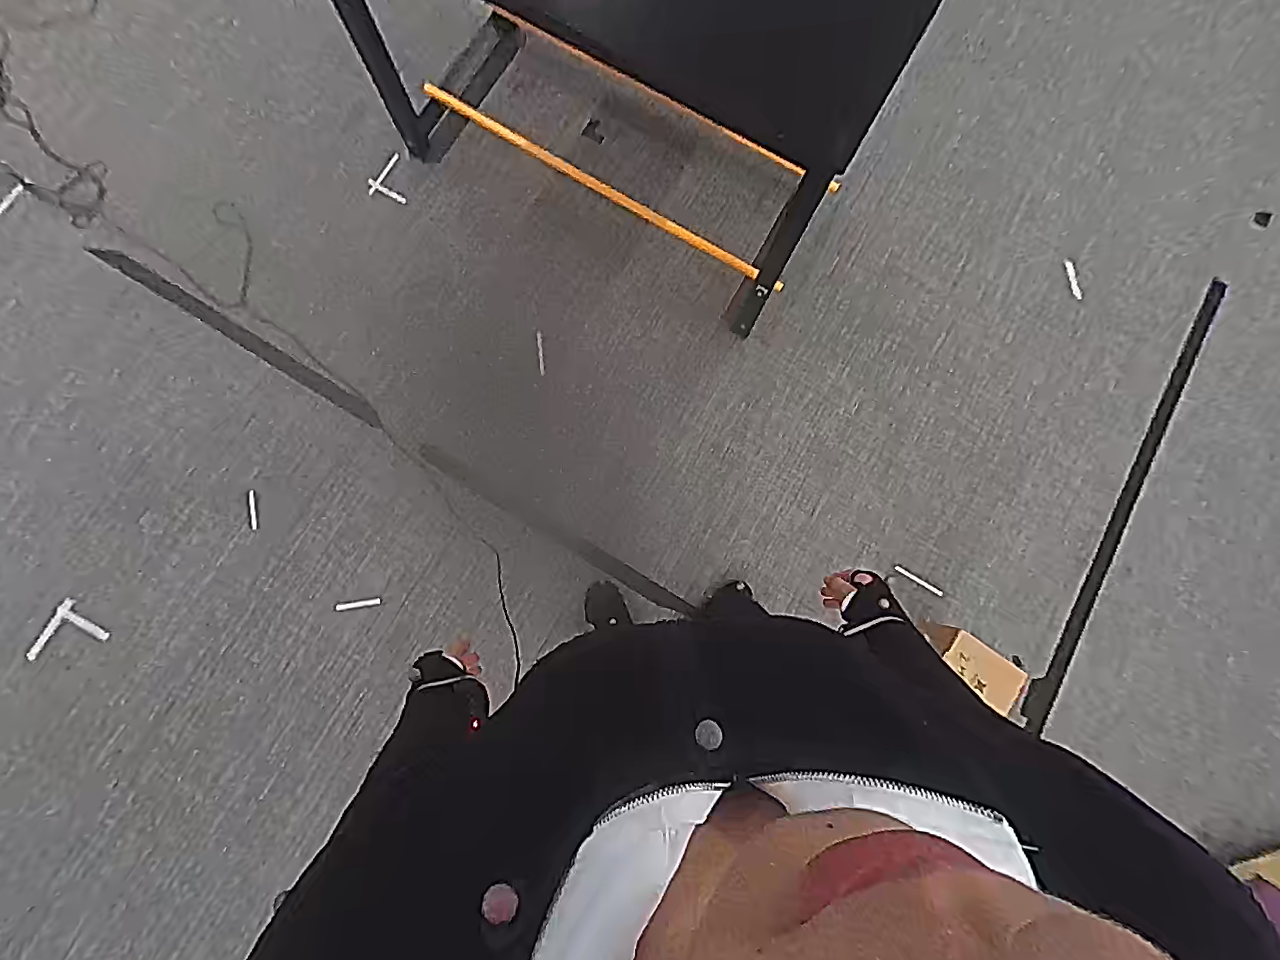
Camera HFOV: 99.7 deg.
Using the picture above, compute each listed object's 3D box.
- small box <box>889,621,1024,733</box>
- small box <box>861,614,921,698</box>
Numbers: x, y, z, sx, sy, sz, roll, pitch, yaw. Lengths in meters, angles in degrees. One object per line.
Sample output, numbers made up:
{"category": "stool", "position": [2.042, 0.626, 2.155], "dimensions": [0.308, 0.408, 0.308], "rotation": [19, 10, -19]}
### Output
{"category": "small box", "position": [0.726, 0.445, 1.259], "dimensions": [0.179, 0.176, 0.168], "rotation": [35, 81, 3]}
{"category": "small box", "position": [0.717, 0.466, 1.423], "dimensions": [0.179, 0.176, 0.168], "rotation": [29, 81, 3]}
